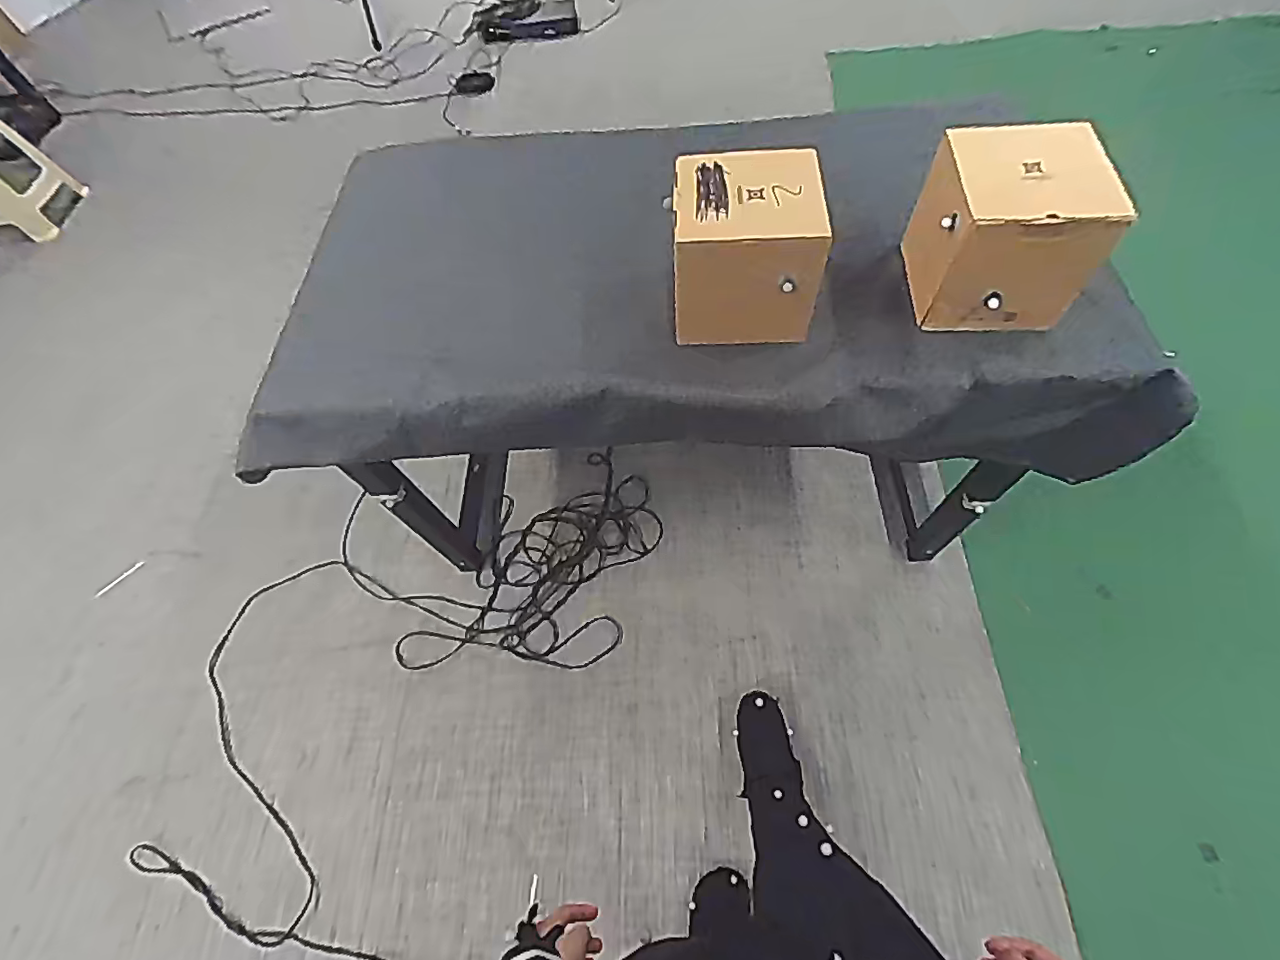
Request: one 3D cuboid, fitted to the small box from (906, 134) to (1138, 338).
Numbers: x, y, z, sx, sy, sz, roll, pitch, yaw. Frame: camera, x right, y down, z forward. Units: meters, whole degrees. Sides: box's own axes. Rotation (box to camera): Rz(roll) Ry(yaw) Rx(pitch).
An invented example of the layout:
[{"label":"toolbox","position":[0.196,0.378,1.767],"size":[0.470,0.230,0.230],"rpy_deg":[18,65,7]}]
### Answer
[{"label":"small box","position":[0.460,-0.306,0.689],"size":[0.168,0.176,0.179],"rpy_deg":[2,62,7]}]
